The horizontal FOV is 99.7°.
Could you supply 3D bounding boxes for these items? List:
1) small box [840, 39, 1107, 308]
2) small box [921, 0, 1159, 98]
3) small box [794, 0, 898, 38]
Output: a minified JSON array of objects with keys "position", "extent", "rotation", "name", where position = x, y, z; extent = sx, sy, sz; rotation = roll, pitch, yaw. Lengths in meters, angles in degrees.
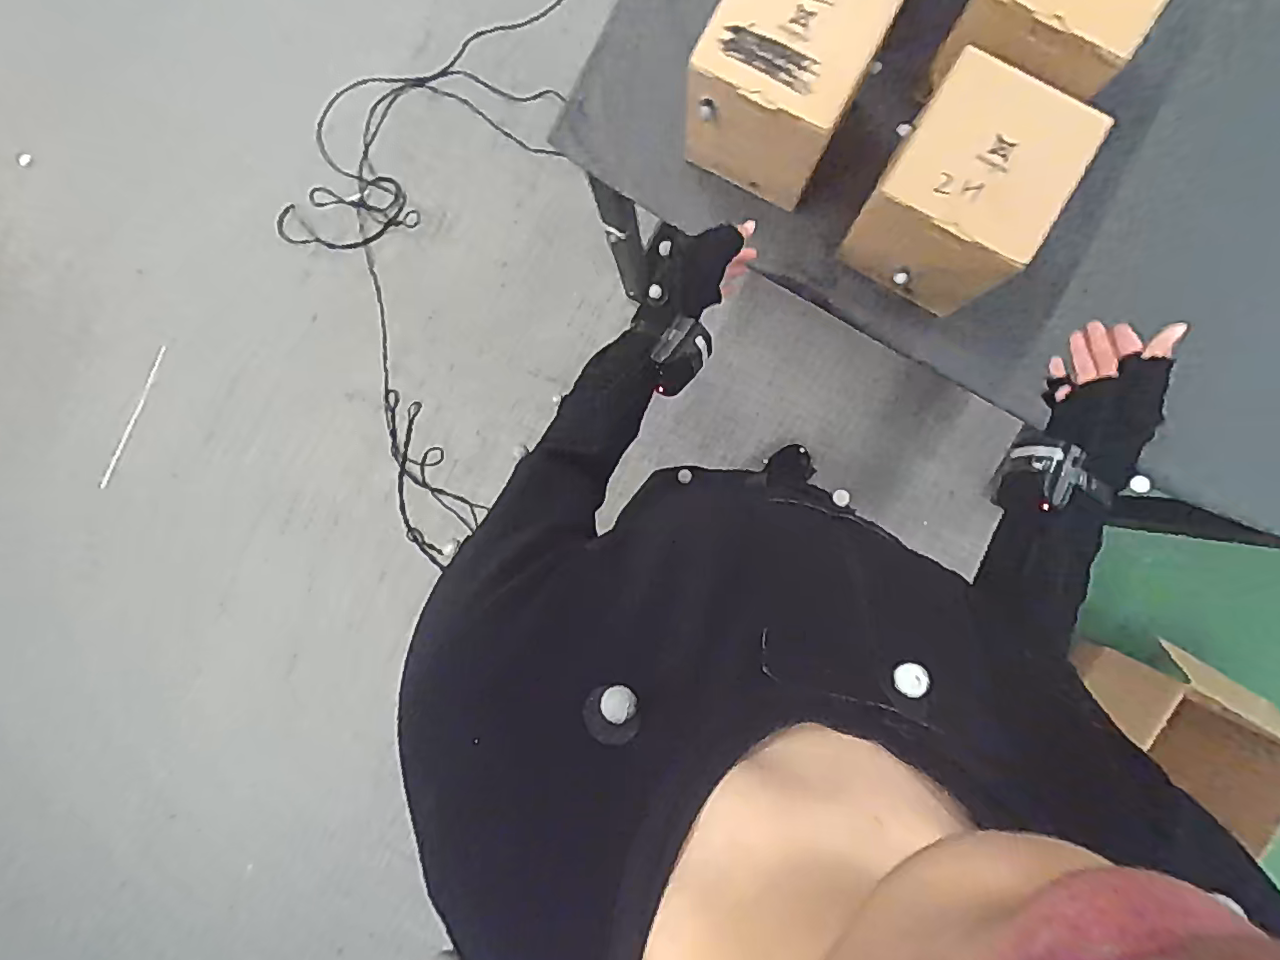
[{"position":[0.362,-0.335,0.627],"extent":[0.168,0.176,0.179],"rotation":[31,91,3],"name":"small box"},{"position":[0.463,-0.541,0.620],"extent":[0.168,0.176,0.179],"rotation":[31,94,2],"name":"small box"},{"position":[0.268,-0.680,0.628],"extent":[0.168,0.176,0.179],"rotation":[28,93,3],"name":"small box"}]
